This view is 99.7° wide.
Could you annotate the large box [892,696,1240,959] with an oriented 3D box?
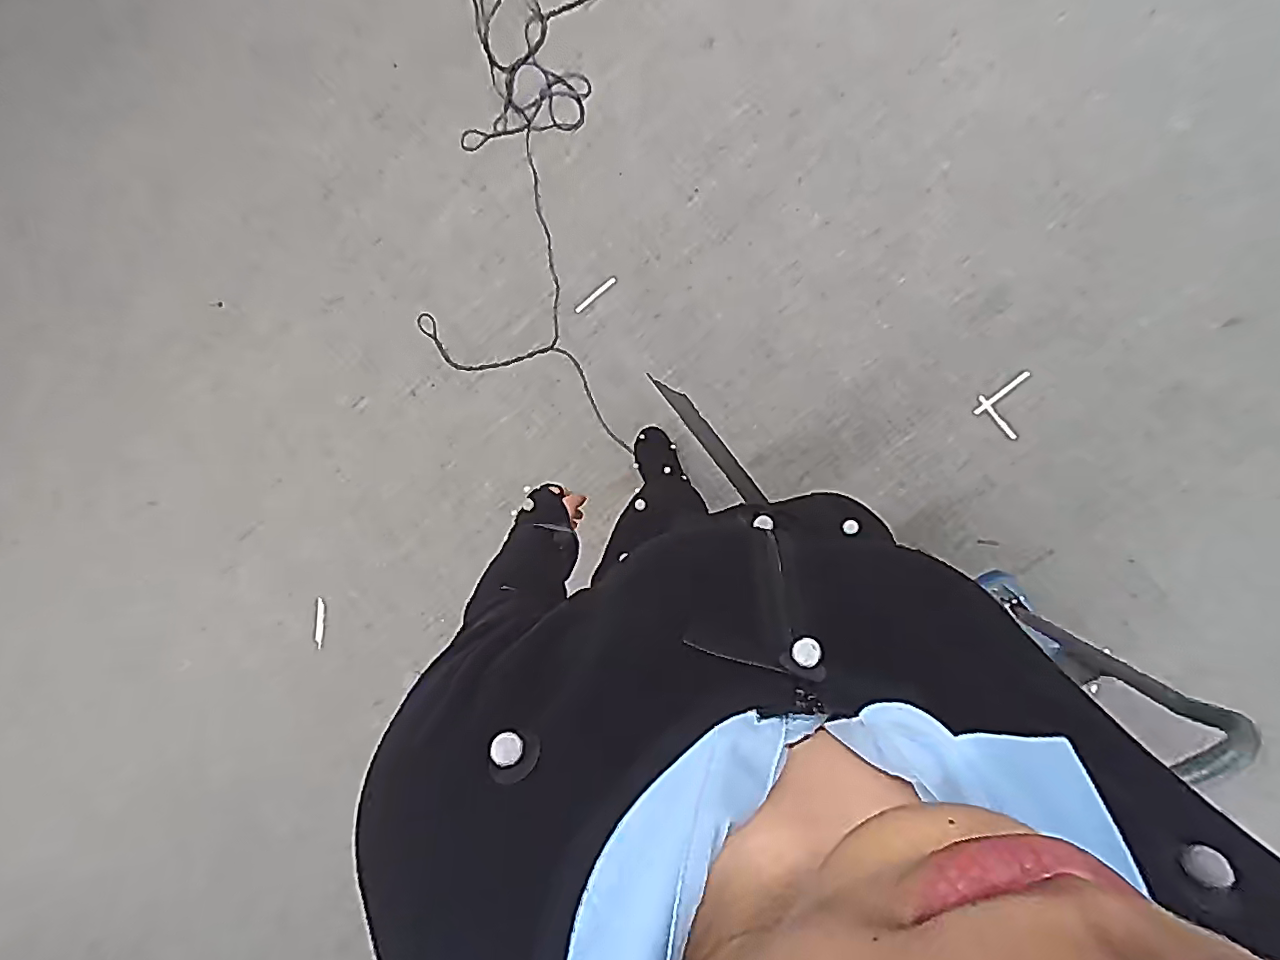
[{"bbox_3d":[0.825,0.732,1.125,0.408,0.320,0.320,-33,89,9],"label":"large box"}]
